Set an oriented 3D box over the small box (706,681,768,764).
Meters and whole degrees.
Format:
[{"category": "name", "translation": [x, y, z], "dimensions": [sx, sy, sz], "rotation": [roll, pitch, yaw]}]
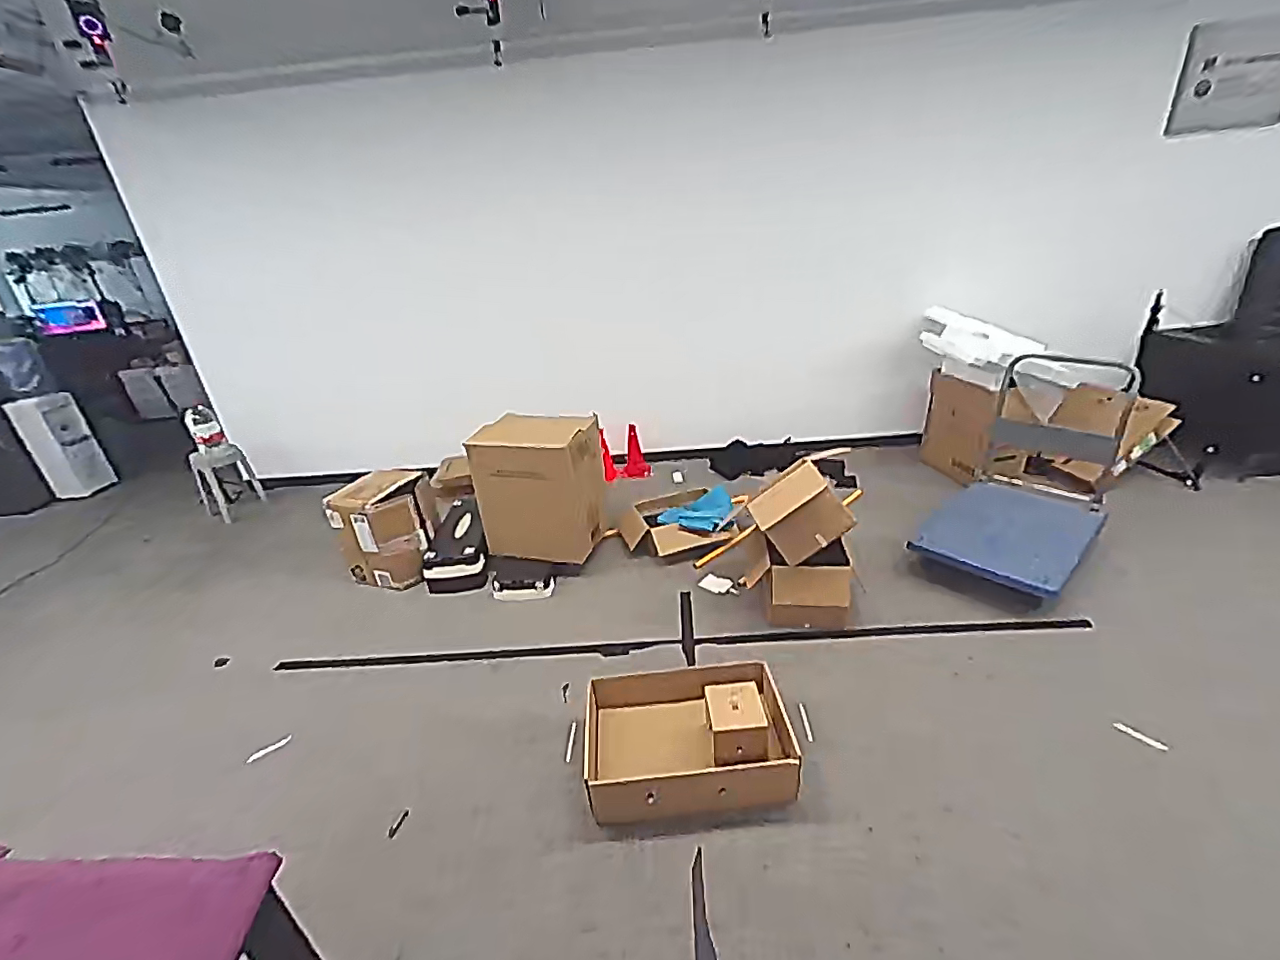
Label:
[{"category": "small box", "translation": [0.304, 0.763, 1.693], "dimensions": [0.168, 0.176, 0.179], "rotation": [-5, 24, 0]}]
